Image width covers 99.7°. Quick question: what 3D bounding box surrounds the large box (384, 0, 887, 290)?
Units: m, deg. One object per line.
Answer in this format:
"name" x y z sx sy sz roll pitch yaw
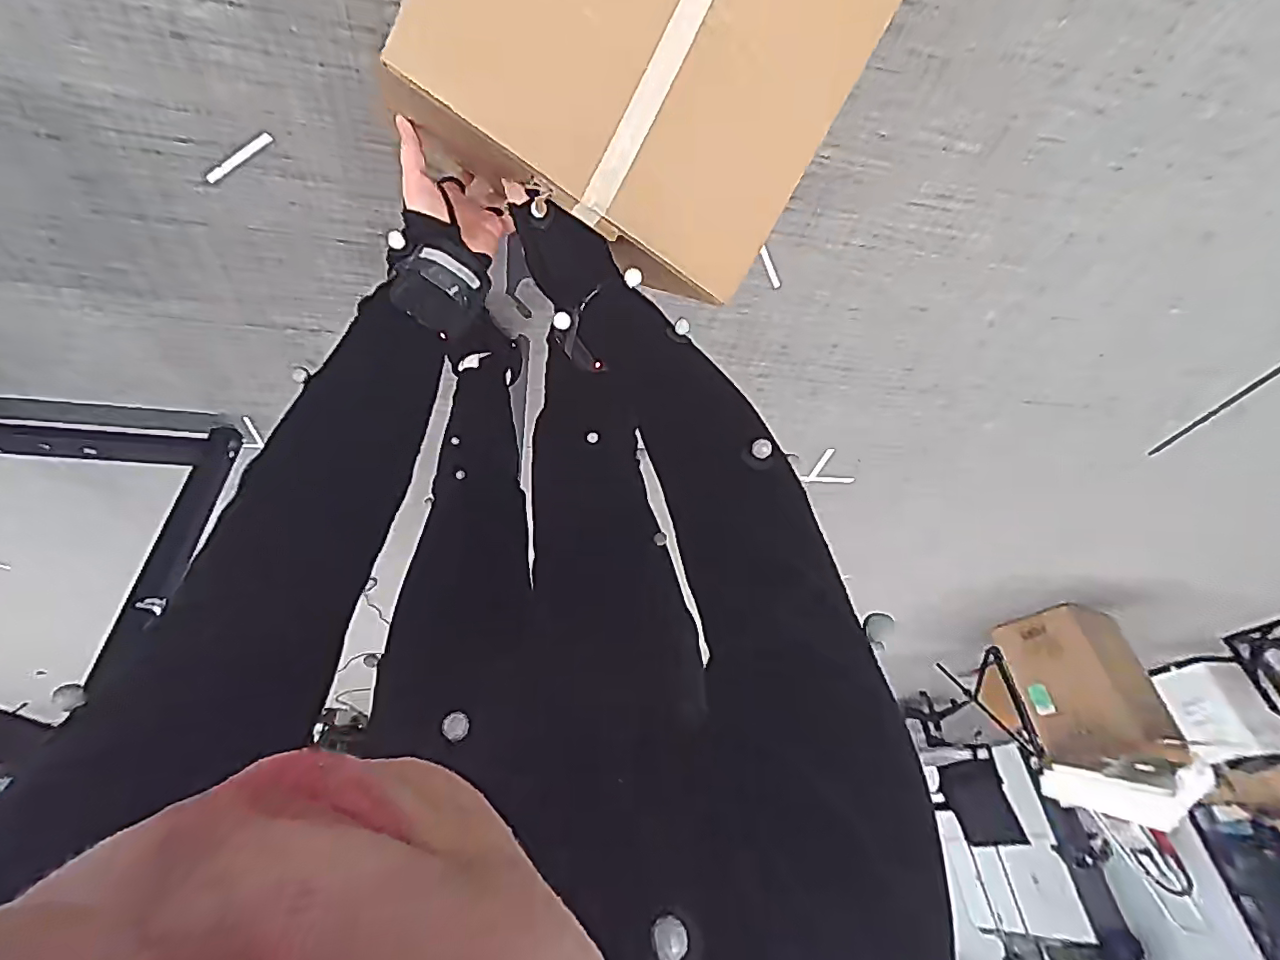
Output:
"large box" -0.005 -0.443 0.501 0.320 0.320 0.408 23 102 -32
